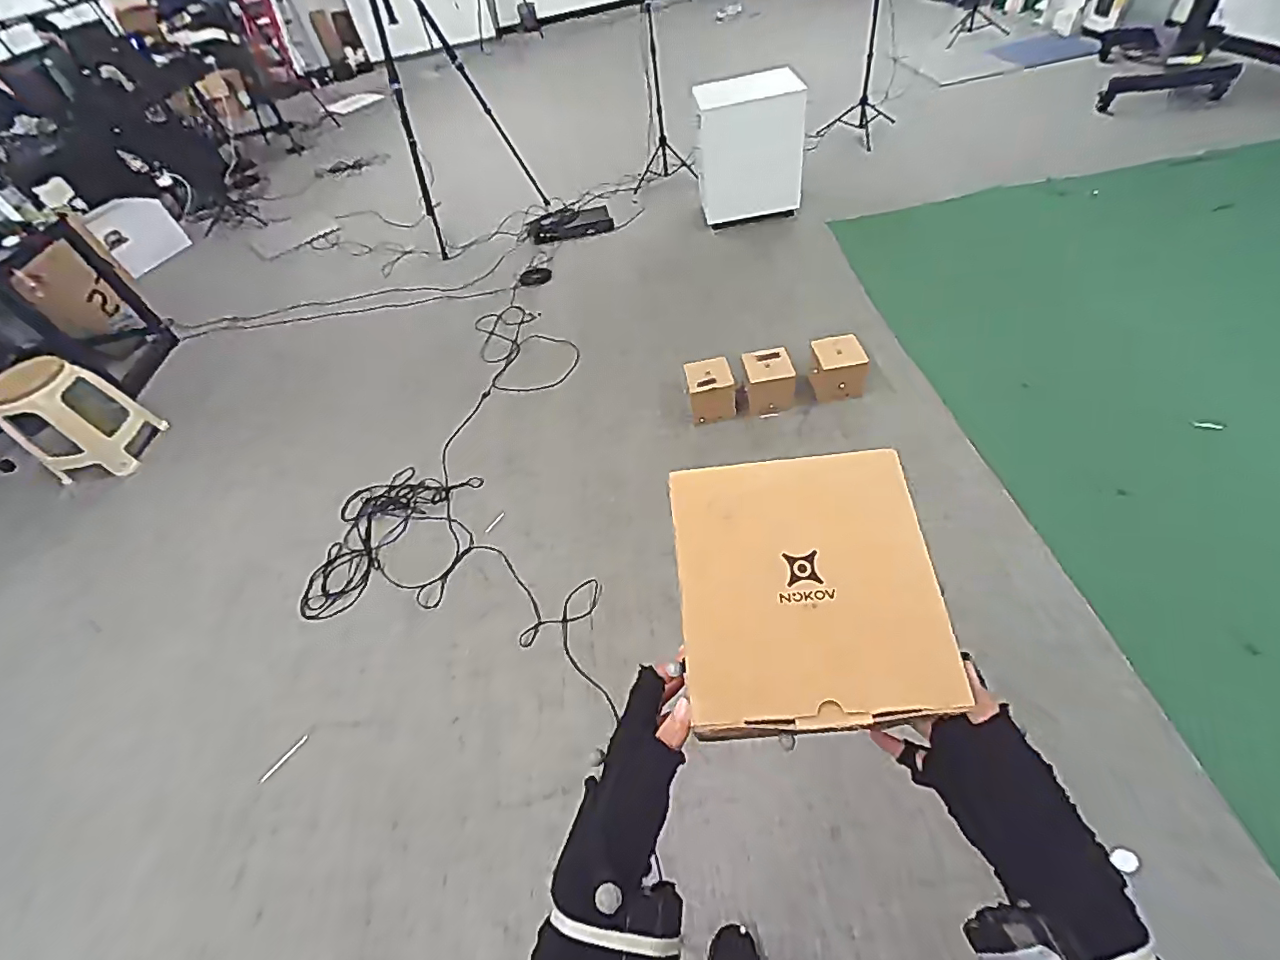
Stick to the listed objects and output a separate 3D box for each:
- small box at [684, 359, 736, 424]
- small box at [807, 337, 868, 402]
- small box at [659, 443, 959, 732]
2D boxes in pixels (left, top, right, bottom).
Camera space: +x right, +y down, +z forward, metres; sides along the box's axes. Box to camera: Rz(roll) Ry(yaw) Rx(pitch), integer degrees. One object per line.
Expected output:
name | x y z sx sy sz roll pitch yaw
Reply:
small box | 0.268 -0.331 2.072 0.168 0.176 0.179 -11 48 3
small box | 0.742 -0.411 2.045 0.168 0.176 0.179 -9 49 3
small box | 0.106 0.094 0.425 0.168 0.176 0.179 -7 63 4
